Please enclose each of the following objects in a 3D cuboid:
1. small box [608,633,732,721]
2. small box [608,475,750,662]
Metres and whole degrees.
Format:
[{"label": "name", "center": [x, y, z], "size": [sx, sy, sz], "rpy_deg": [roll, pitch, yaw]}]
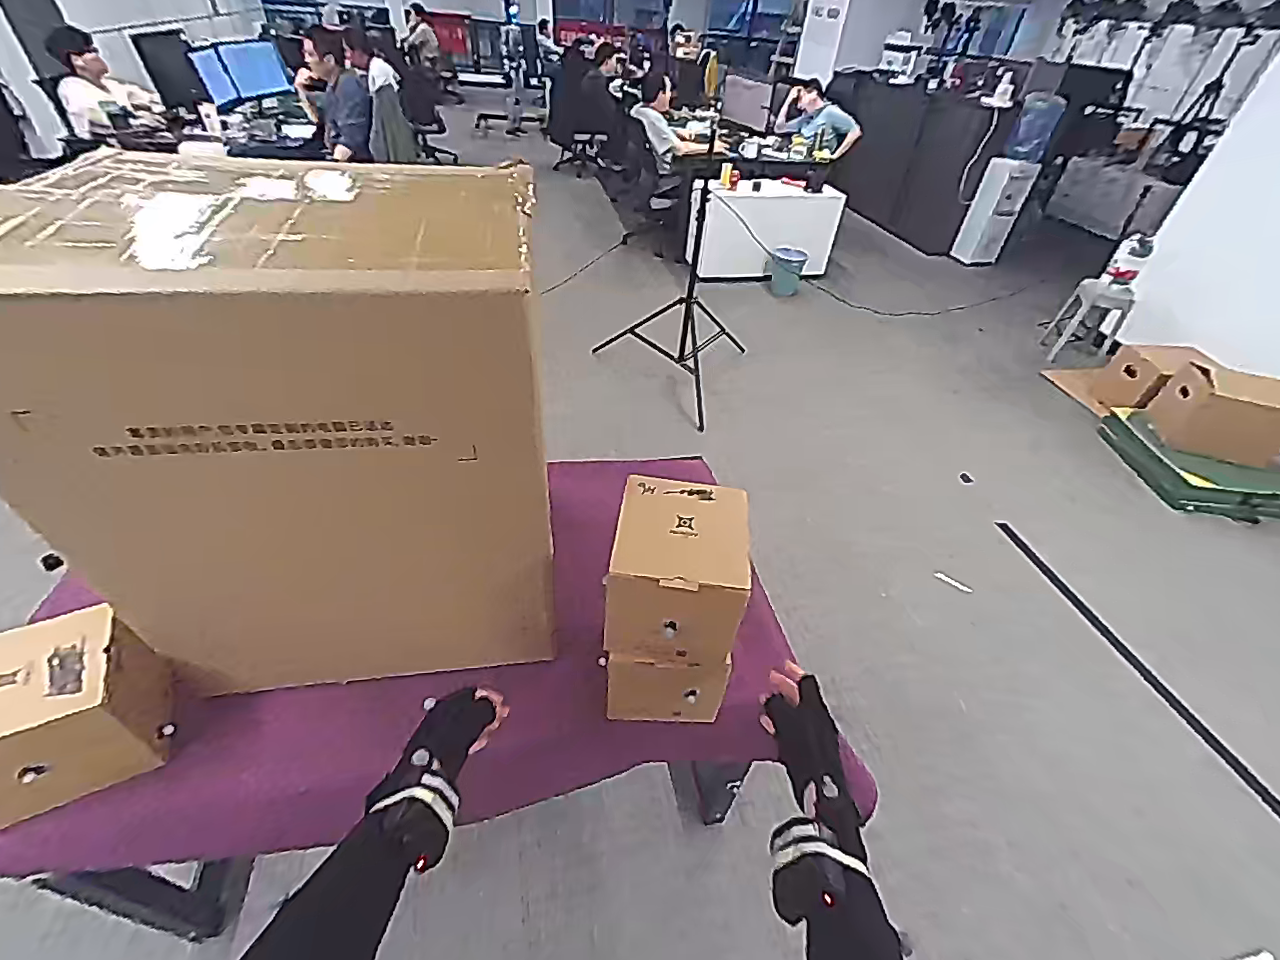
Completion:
[{"label": "small box", "center": [0.038, 0.251, 0.832], "size": [0.168, 0.176, 0.179], "rpy_deg": [3, 39, -3]}, {"label": "small box", "center": [0.050, 0.121, 0.731], "size": [0.168, 0.176, 0.179], "rpy_deg": [8, 42, 2]}]
